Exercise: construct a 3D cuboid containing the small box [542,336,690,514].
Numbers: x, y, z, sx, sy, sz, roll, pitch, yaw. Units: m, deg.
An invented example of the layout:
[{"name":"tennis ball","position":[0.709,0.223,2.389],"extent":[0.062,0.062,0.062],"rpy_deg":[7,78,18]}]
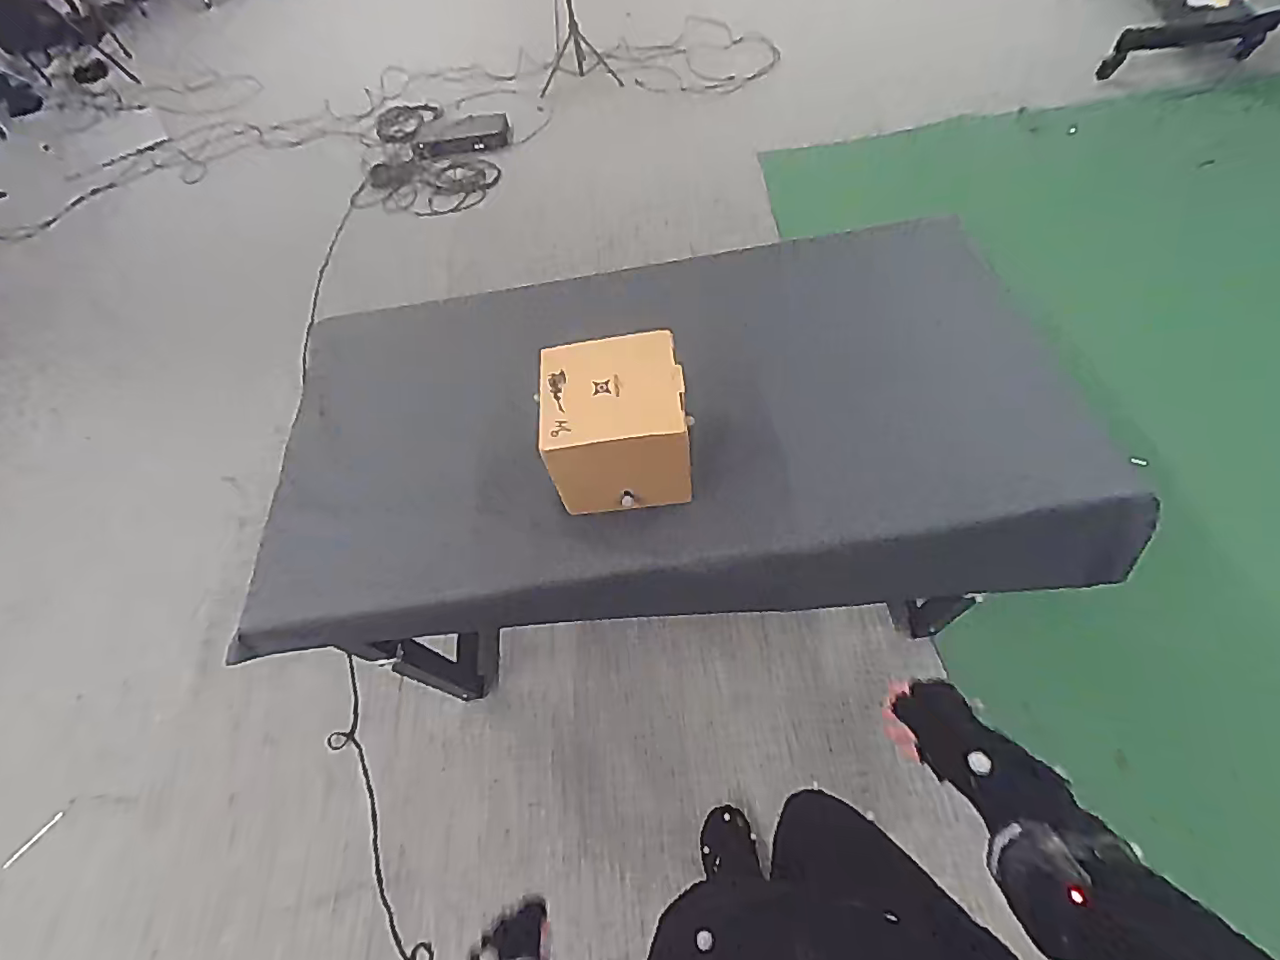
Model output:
[{"name":"small box","position":[-0.027,-0.069,0.738],"extent":[0.179,0.176,0.168],"rpy_deg":[-7,58,3]}]
